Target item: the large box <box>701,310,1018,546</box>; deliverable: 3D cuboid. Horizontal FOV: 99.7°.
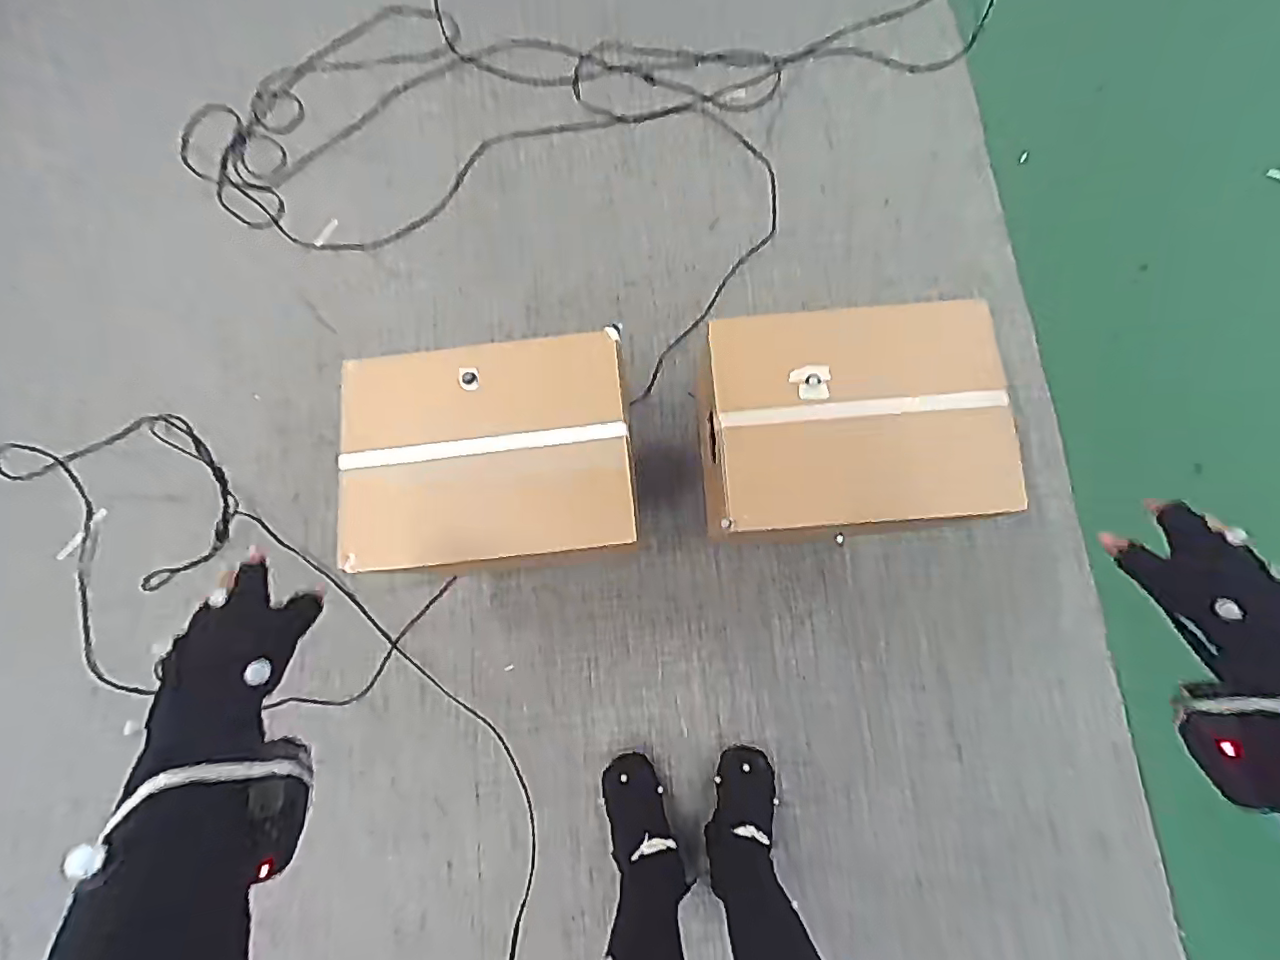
[{"bbox_3d":[0.324,-0.060,0.921,0.408,0.320,0.320,-4,79,2],"label":"large box"}]
